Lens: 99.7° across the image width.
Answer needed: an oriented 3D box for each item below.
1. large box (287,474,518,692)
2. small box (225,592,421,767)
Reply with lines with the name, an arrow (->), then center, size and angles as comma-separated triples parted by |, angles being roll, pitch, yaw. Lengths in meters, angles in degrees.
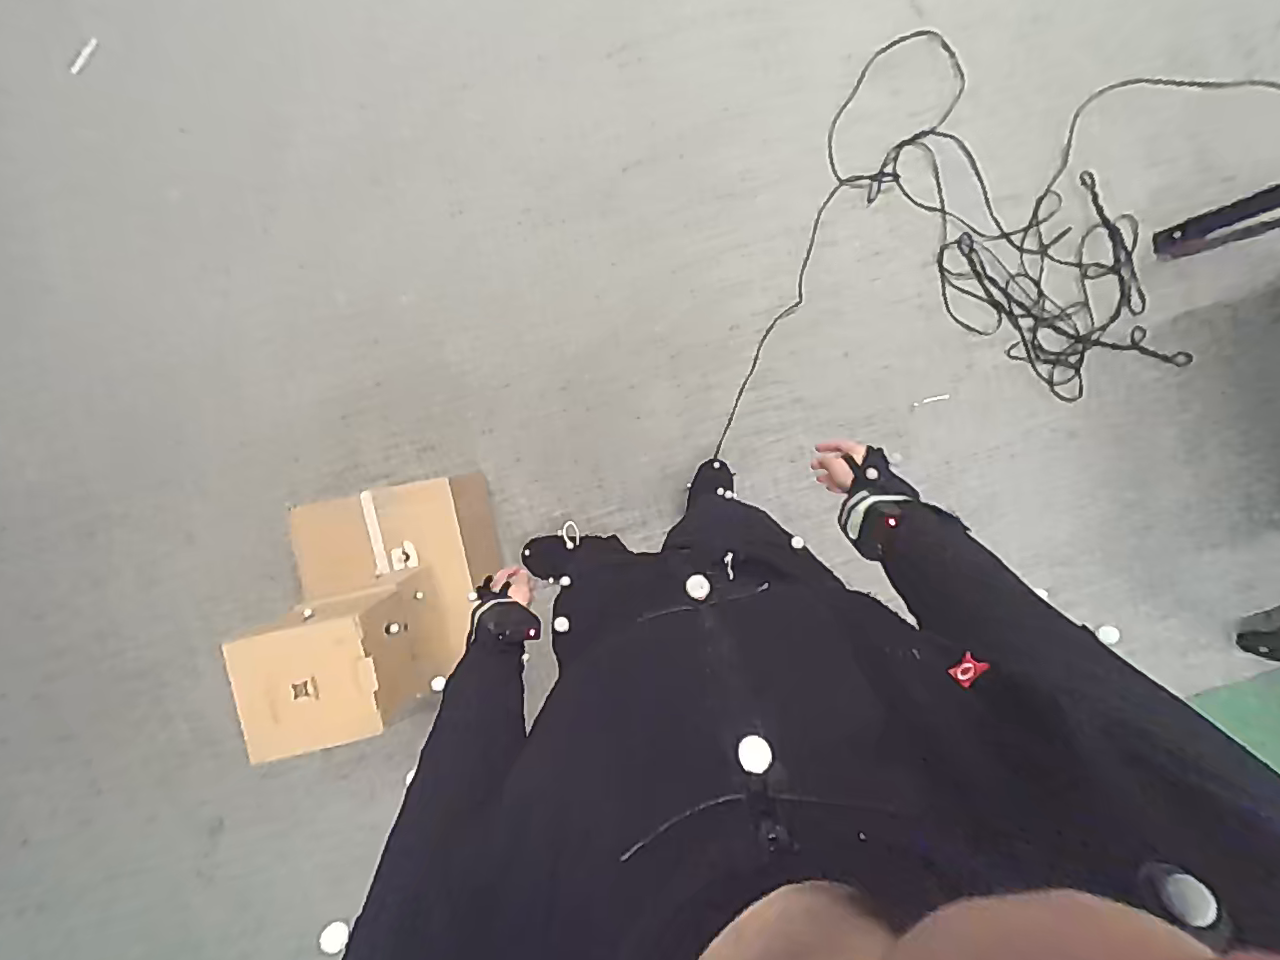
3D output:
large box -> -0.484, 0.214, 1.184 | 0.320, 0.320, 0.408 | -12, 92, -4
small box -> -0.437, 0.273, 0.781 | 0.179, 0.176, 0.168 | -13, 92, -2
